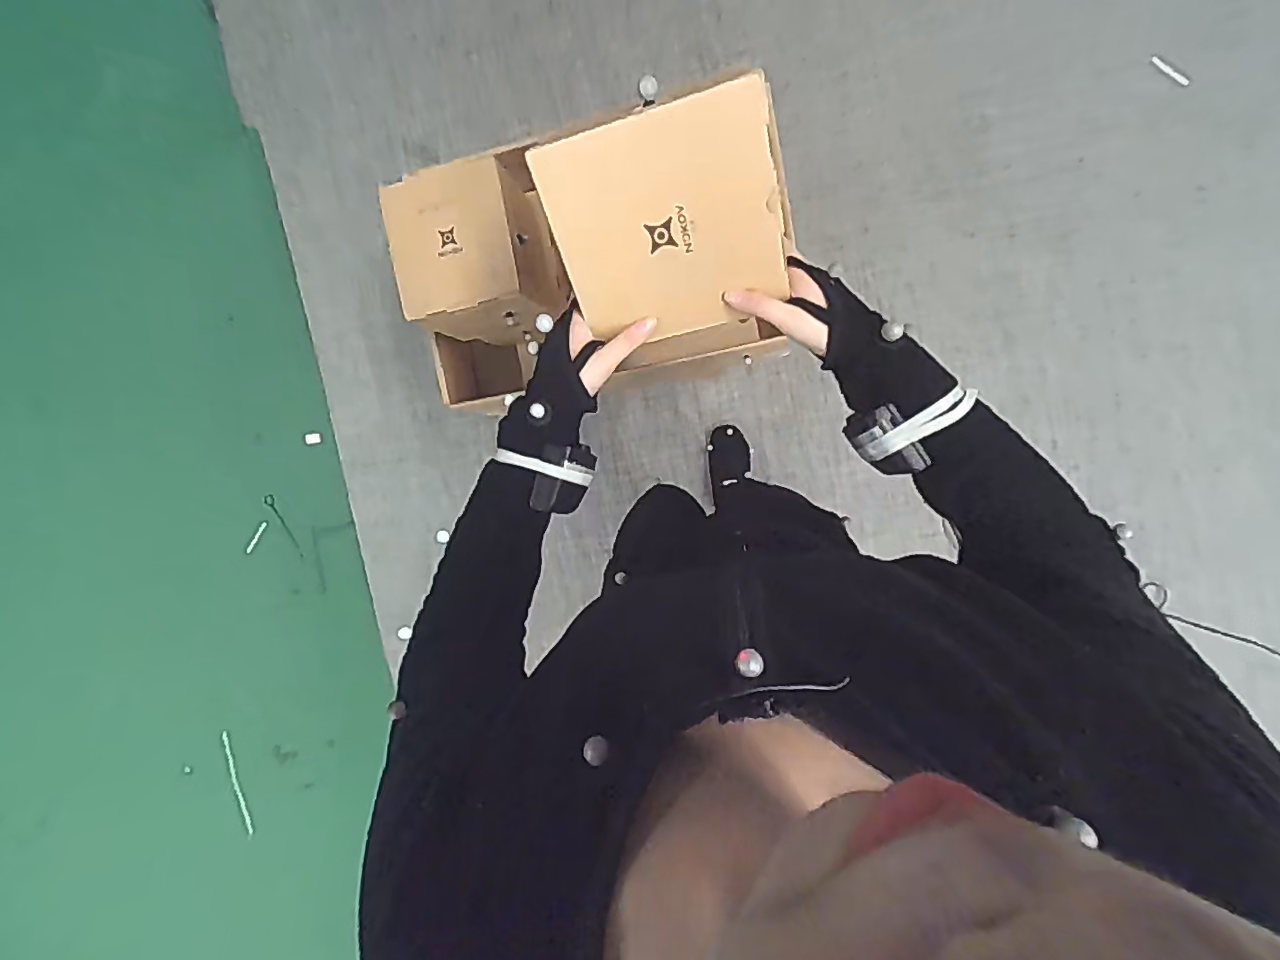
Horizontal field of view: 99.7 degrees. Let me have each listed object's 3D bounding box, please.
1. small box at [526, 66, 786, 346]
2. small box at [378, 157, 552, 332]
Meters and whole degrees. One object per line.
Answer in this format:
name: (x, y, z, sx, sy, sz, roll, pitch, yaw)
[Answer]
small box: (0.024, -0.246, 0.487, 0.179, 0.176, 0.168, -11, 126, 12)
small box: (-0.237, -0.318, 0.776, 0.168, 0.176, 0.179, -9, 94, 8)
